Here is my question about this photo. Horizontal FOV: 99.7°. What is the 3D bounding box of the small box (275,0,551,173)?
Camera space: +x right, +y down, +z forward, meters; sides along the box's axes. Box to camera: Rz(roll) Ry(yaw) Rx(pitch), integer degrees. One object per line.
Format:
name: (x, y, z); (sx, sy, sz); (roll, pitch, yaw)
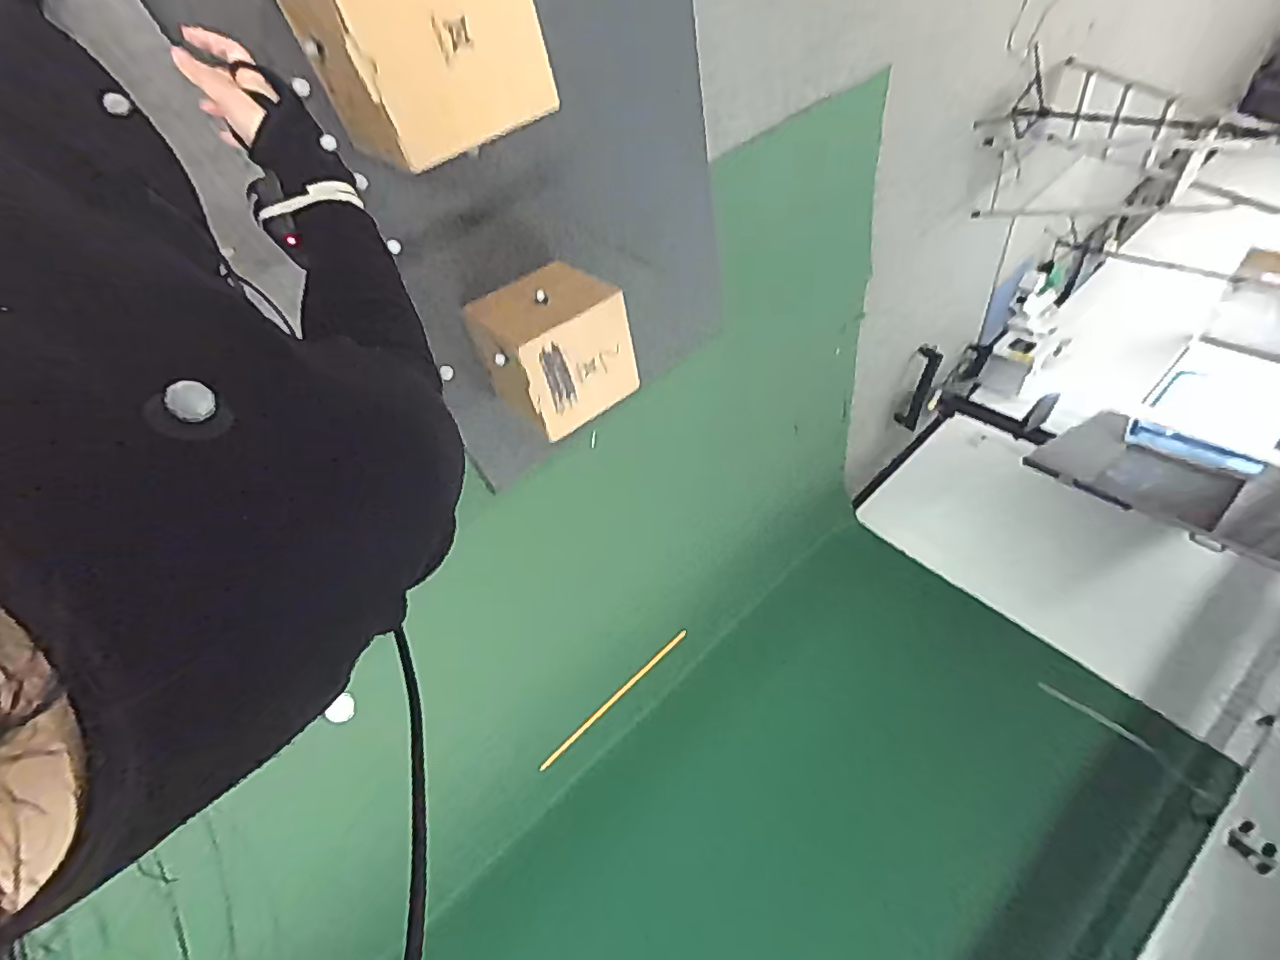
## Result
small box: (-0.220, -0.433, 0.527); (0.179, 0.176, 0.168); (-38, 143, -20)
